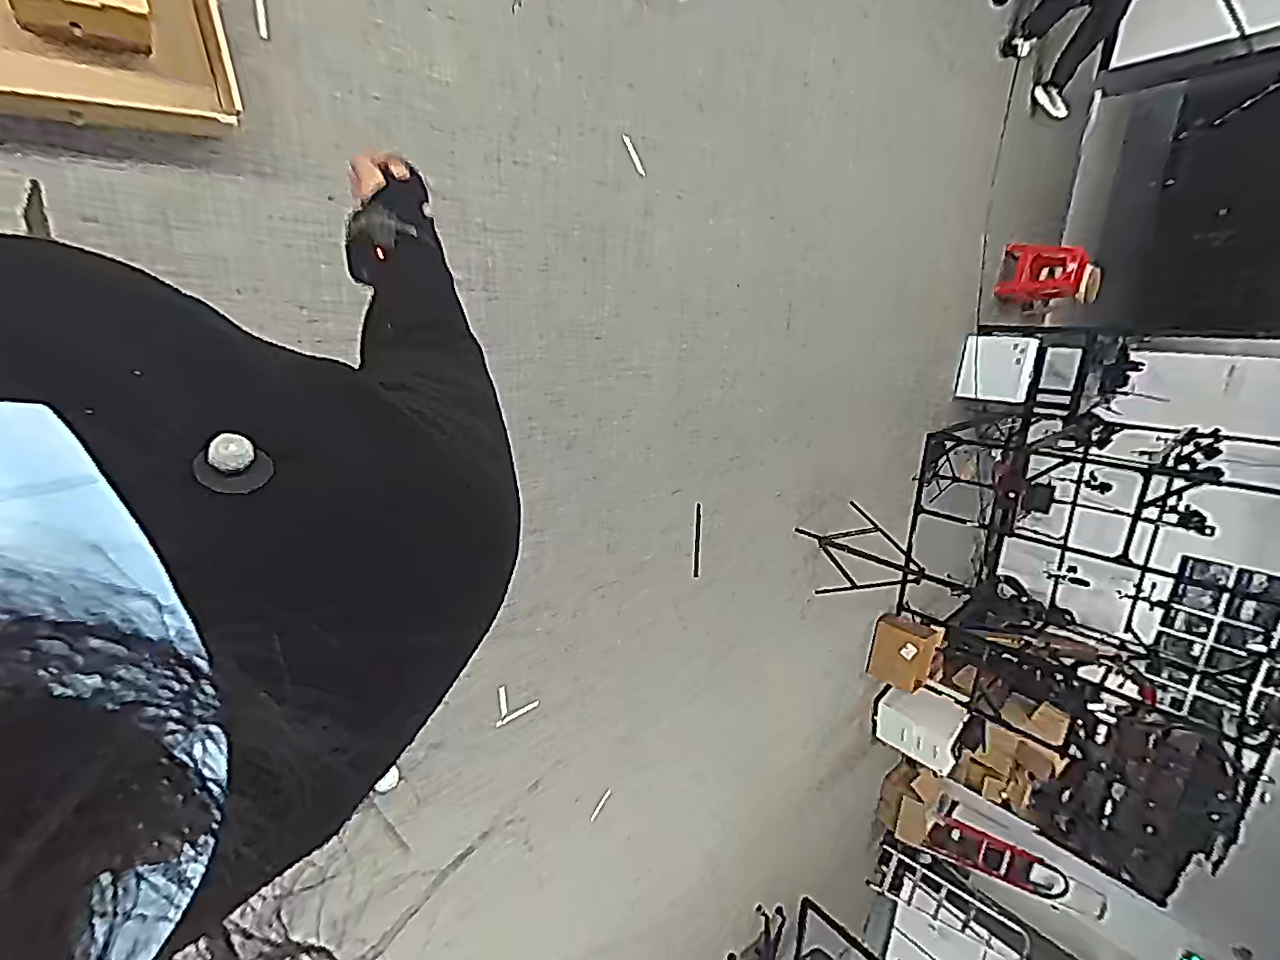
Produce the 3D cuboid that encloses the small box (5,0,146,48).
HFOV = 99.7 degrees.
[{"bbox_3d":[-0.903,-0.821,0.839,0.168,0.176,0.179,-18,115,-38],"label":"small box"}]
